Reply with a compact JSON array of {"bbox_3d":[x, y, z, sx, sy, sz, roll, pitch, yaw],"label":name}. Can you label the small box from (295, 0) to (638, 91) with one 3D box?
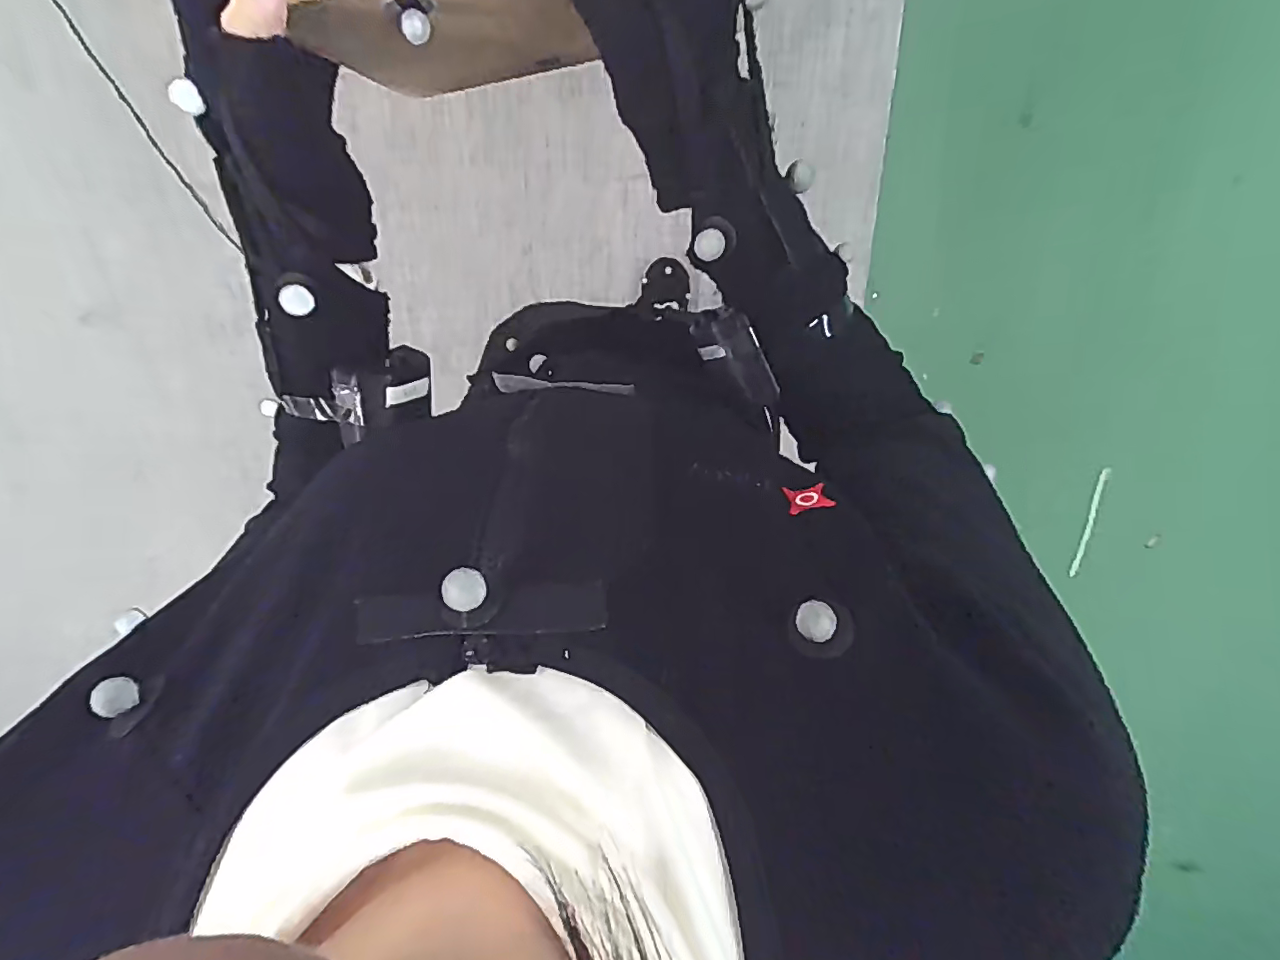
[{"bbox_3d":[-0.096,-0.320,0.253,0.168,0.176,0.179,-8,113,6],"label":"small box"}]
